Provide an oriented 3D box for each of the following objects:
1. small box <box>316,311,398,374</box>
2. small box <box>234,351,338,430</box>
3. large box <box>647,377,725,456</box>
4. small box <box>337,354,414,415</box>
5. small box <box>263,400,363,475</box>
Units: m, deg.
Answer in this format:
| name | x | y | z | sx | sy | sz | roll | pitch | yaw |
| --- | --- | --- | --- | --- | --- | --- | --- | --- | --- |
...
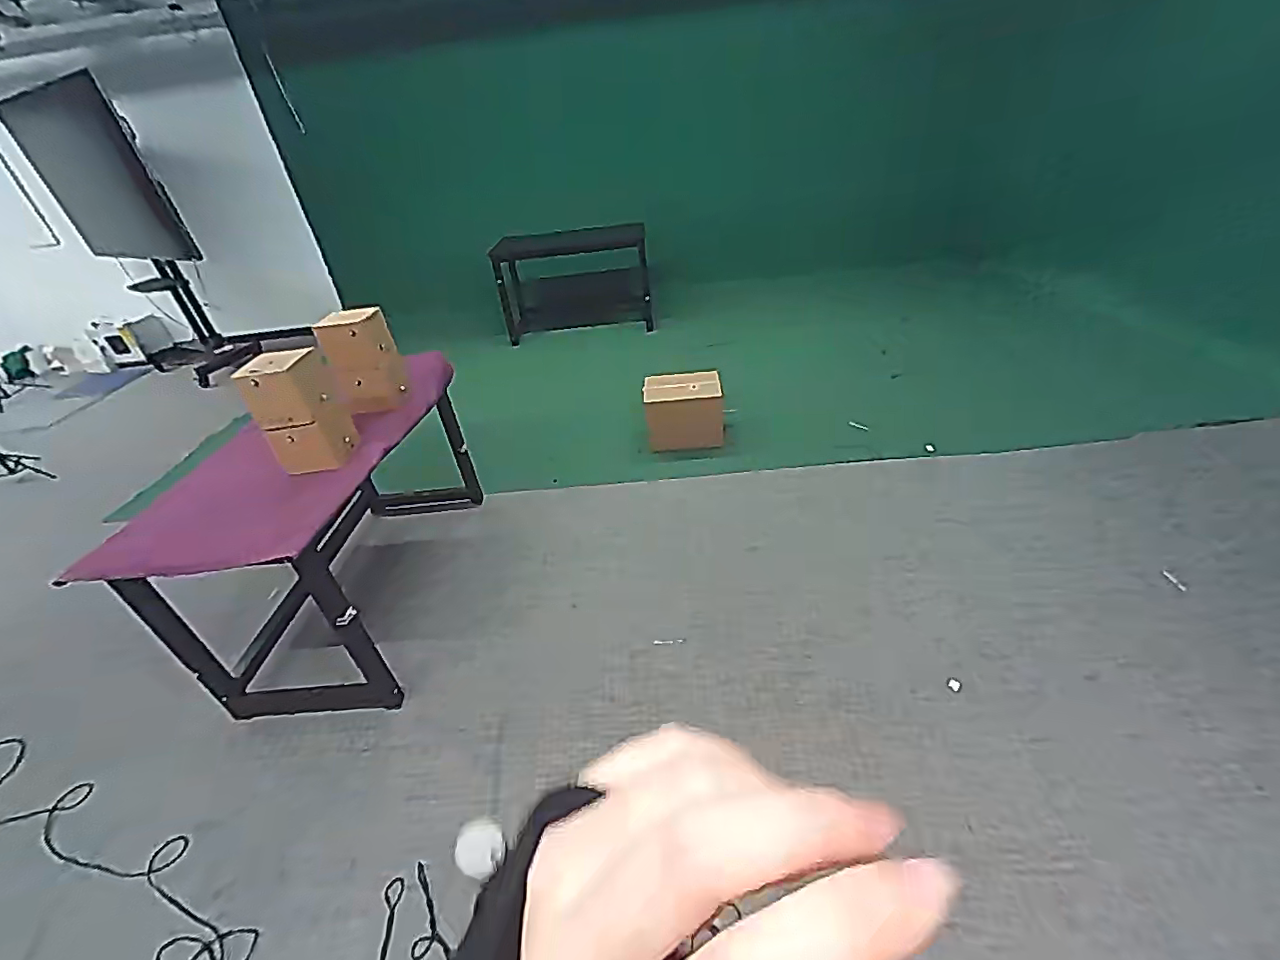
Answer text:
| name | x | y | z | sx | sy | sz | roll | pitch | yaw |
| --- | --- | --- | --- | --- | --- | --- | --- | --- | --- |
| small box | -0.998 | -0.487 | 1.921 | 0.179 | 0.176 | 0.168 | -5 | 34 | 4 |
| small box | -1.028 | -0.264 | 1.593 | 0.168 | 0.176 | 0.179 | -7 | 33 | 4 |
| large box | 0.247 | -0.347 | 2.944 | 0.408 | 0.320 | 0.320 | -3 | 35 | 5 |
| small box | -0.974 | -0.353 | 2.010 | 0.179 | 0.176 | 0.168 | -5 | 34 | 4 |
| small box | -1.009 | -0.130 | 1.686 | 0.179 | 0.176 | 0.168 | -7 | 34 | 4 |
